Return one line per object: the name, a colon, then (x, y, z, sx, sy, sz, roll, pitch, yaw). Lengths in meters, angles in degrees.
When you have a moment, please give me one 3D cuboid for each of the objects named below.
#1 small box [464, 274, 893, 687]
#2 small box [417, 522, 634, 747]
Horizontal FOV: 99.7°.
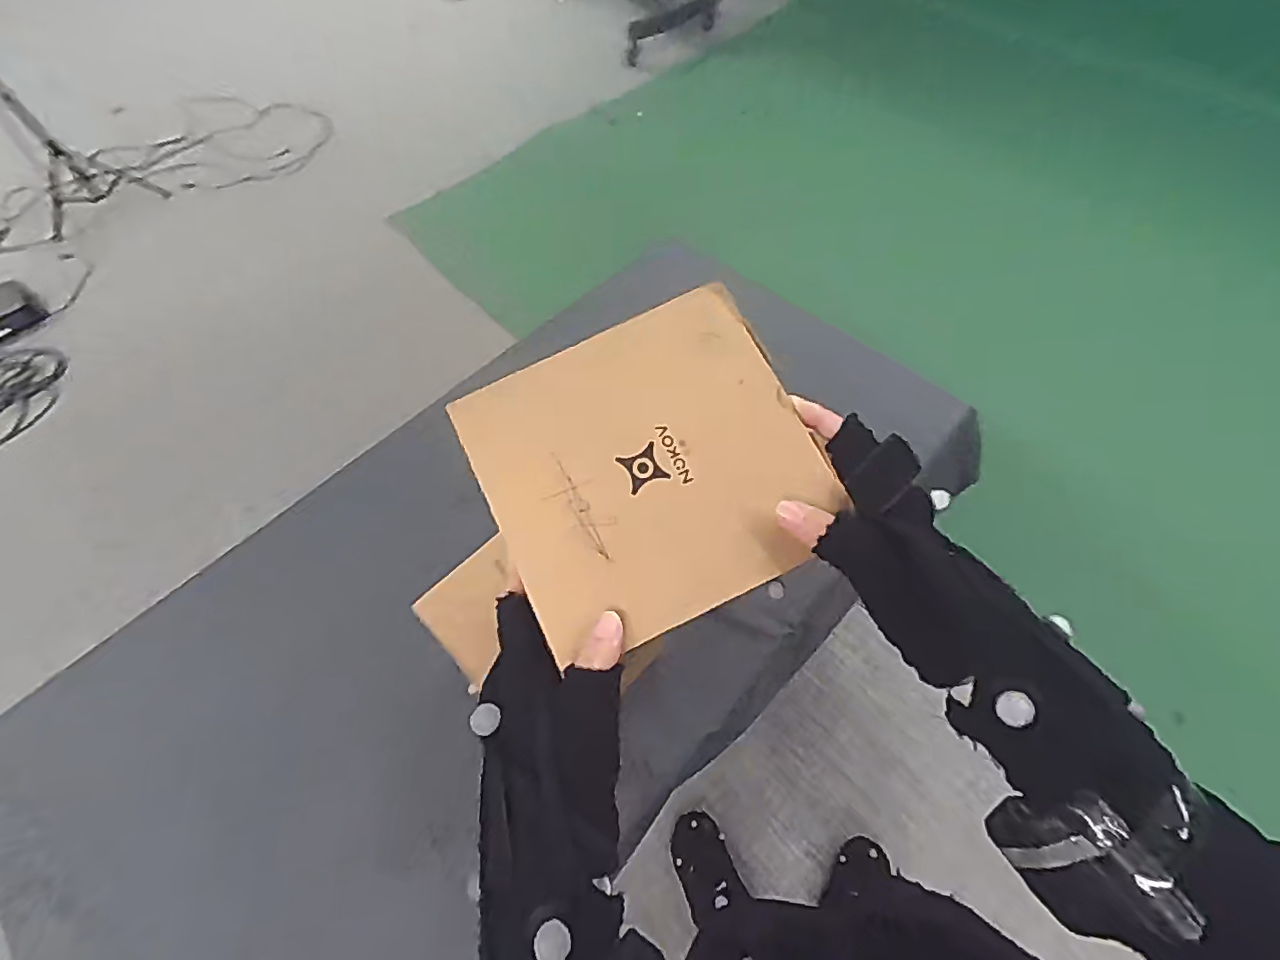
small box: (0.018, 0.008, 0.360, 0.179, 0.176, 0.168, -29, 78, -5)
small box: (-0.096, 0.161, 0.584, 0.179, 0.176, 0.168, 40, 68, 22)
